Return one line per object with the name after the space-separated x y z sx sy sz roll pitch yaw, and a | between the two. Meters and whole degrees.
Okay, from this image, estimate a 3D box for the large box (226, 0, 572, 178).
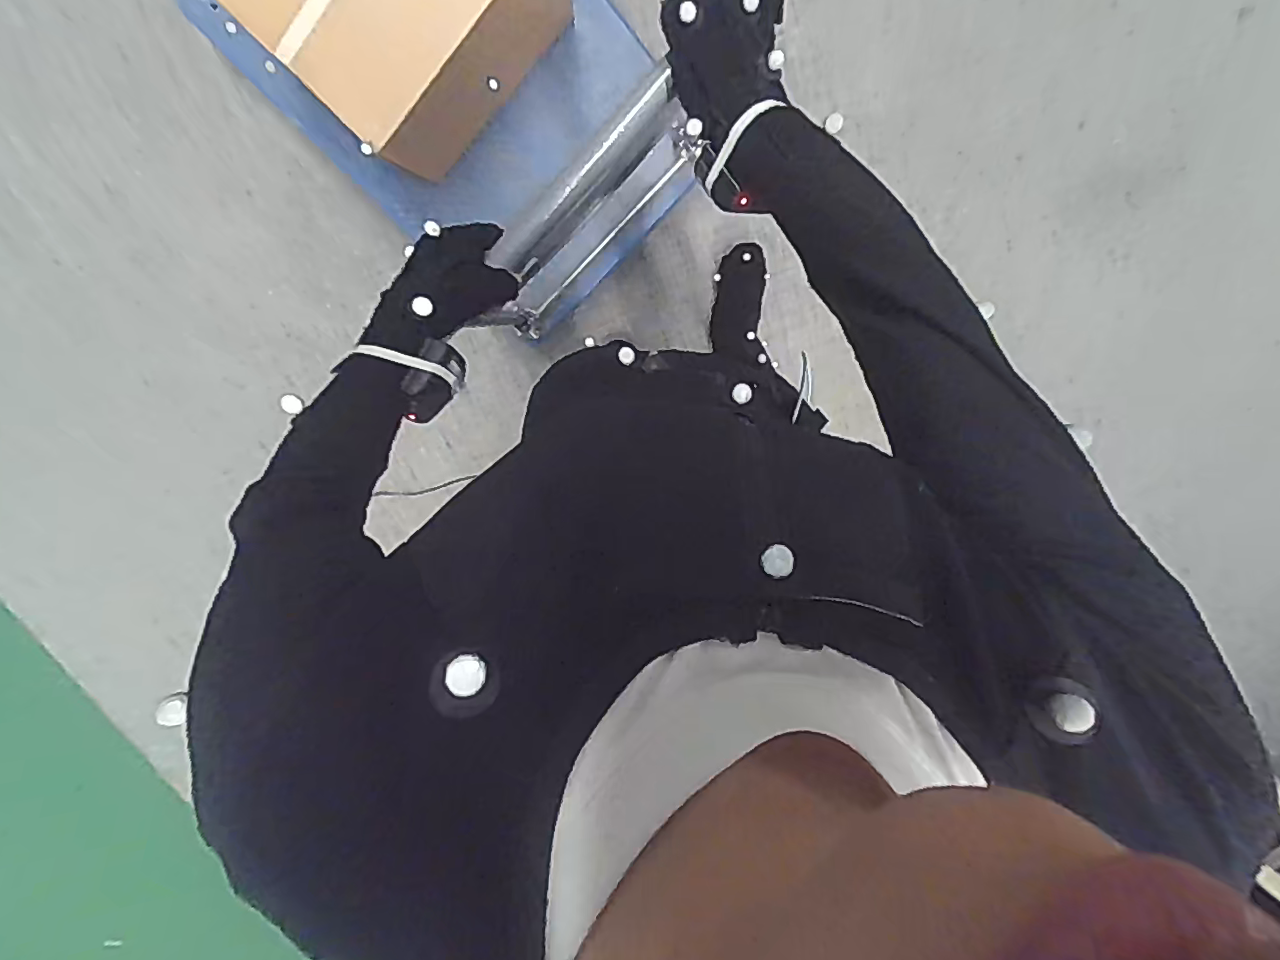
-0.356 -0.777 0.860 0.320 0.320 0.408 42 104 -16 | large box
